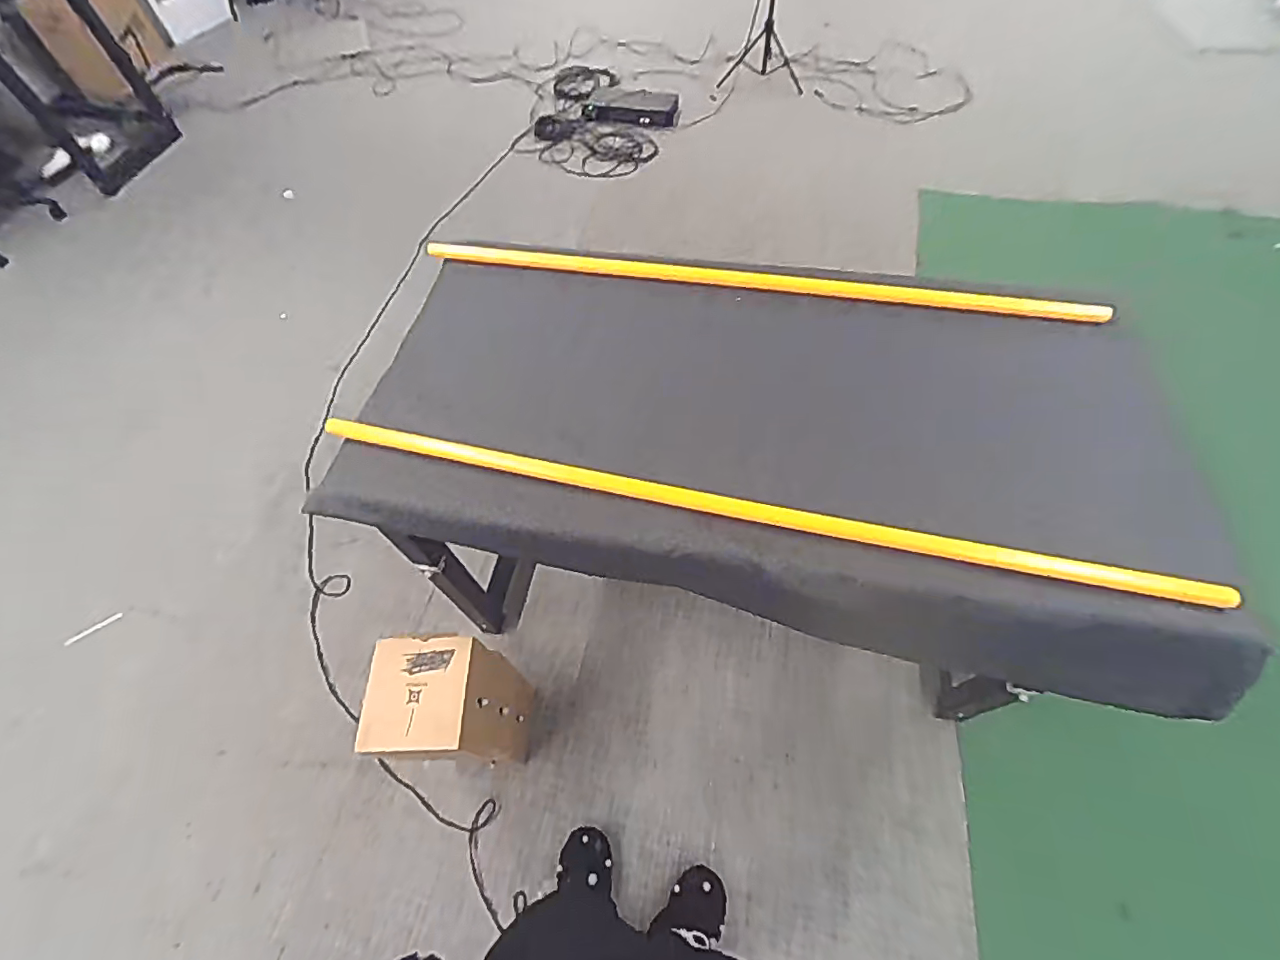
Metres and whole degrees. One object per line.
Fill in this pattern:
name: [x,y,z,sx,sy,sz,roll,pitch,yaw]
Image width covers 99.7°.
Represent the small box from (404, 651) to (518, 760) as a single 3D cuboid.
small box: [-0.349,0.459,1.090,0.168,0.176,0.179,-7,58,2]
